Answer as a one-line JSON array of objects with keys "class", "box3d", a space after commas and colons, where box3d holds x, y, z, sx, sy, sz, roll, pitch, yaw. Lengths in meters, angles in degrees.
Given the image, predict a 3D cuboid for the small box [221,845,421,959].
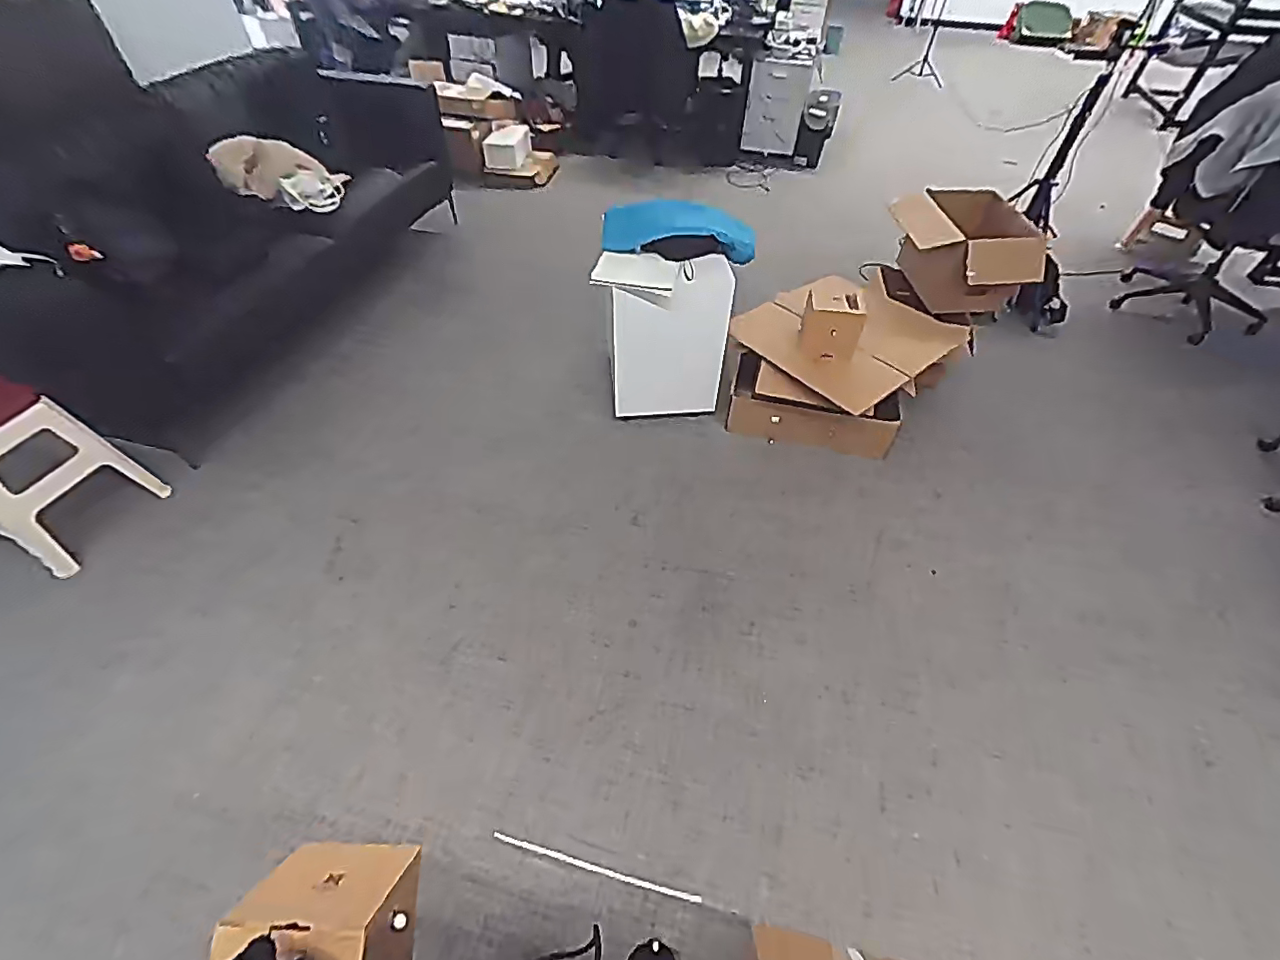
[{"class": "small box", "box3d": [-0.393, 0.590, 0.671, 0.168, 0.179, 0.176, 2, 82, -2]}]
